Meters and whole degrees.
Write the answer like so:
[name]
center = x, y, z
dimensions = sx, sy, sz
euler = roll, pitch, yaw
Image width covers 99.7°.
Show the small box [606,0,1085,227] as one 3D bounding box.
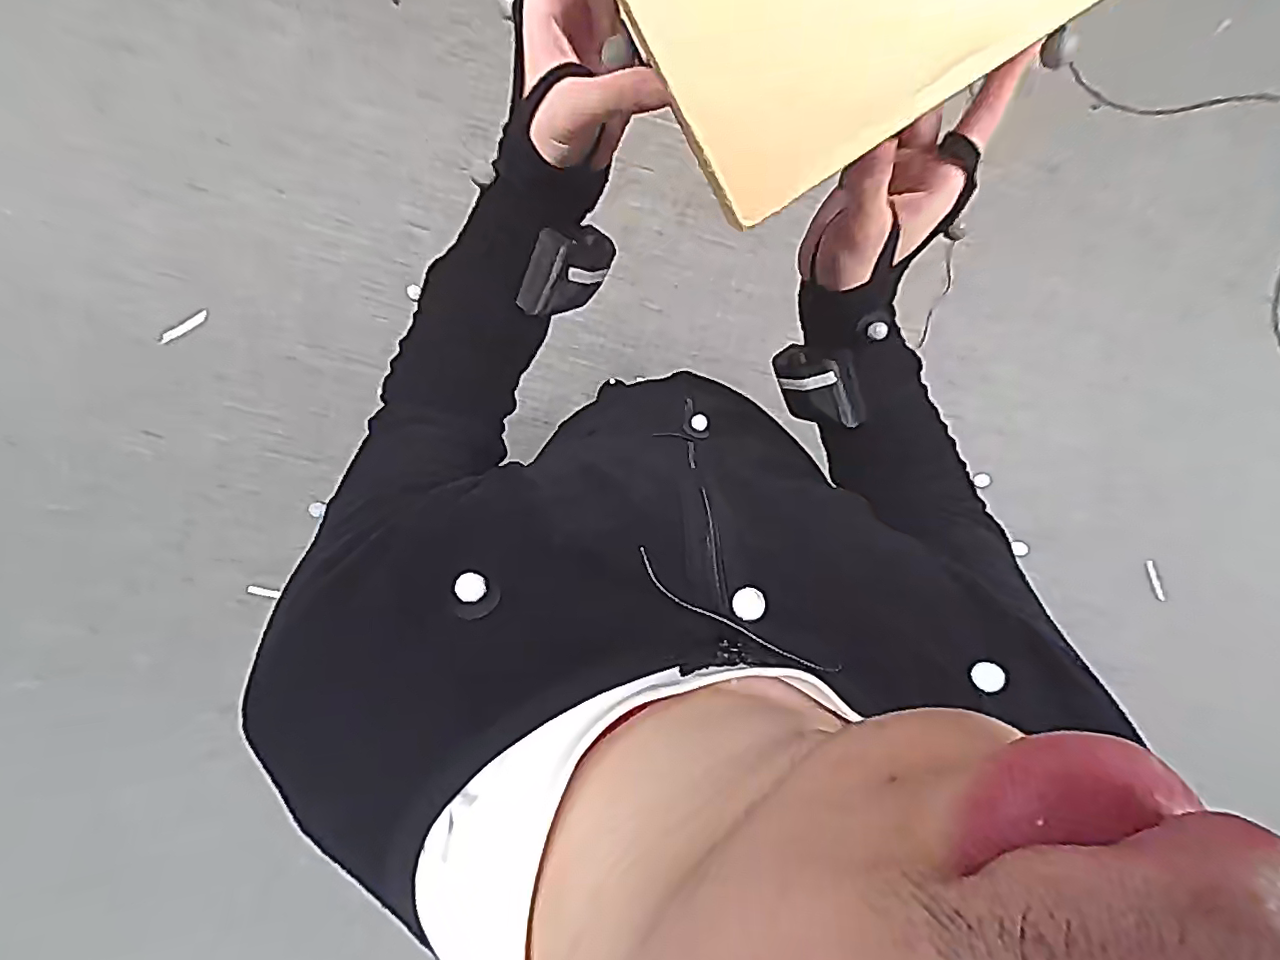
[small box]
center = 0.072, -0.223, 0.204
dimensions = 0.179, 0.176, 0.168
euler = -28, 108, 20
